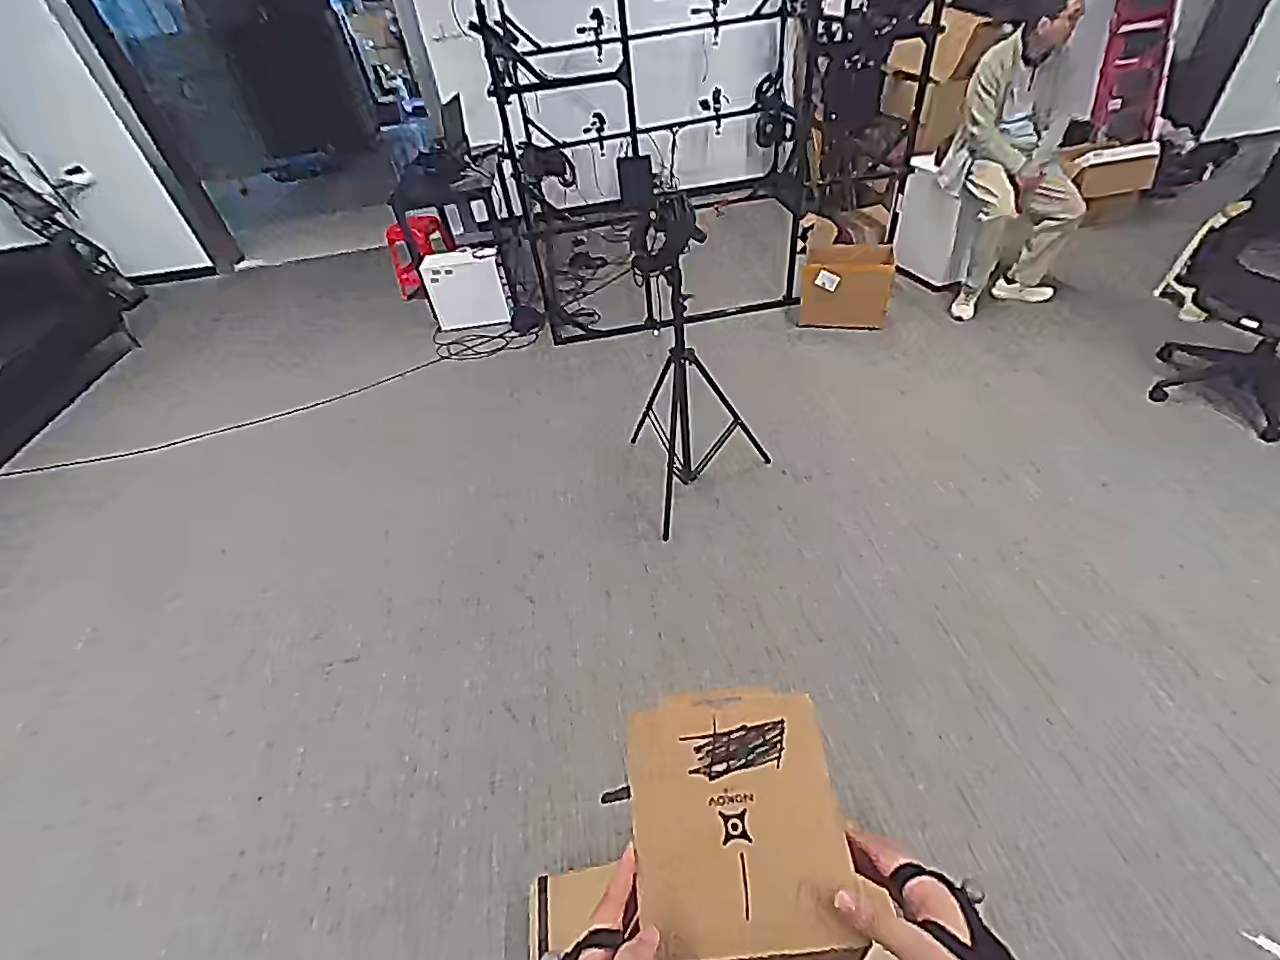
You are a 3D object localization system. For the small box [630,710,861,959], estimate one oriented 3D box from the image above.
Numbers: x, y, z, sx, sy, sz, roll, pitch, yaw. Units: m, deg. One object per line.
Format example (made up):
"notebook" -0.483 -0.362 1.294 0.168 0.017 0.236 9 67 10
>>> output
"small box" 0.082 0.345 0.500 0.168 0.176 0.179 -8 38 2
